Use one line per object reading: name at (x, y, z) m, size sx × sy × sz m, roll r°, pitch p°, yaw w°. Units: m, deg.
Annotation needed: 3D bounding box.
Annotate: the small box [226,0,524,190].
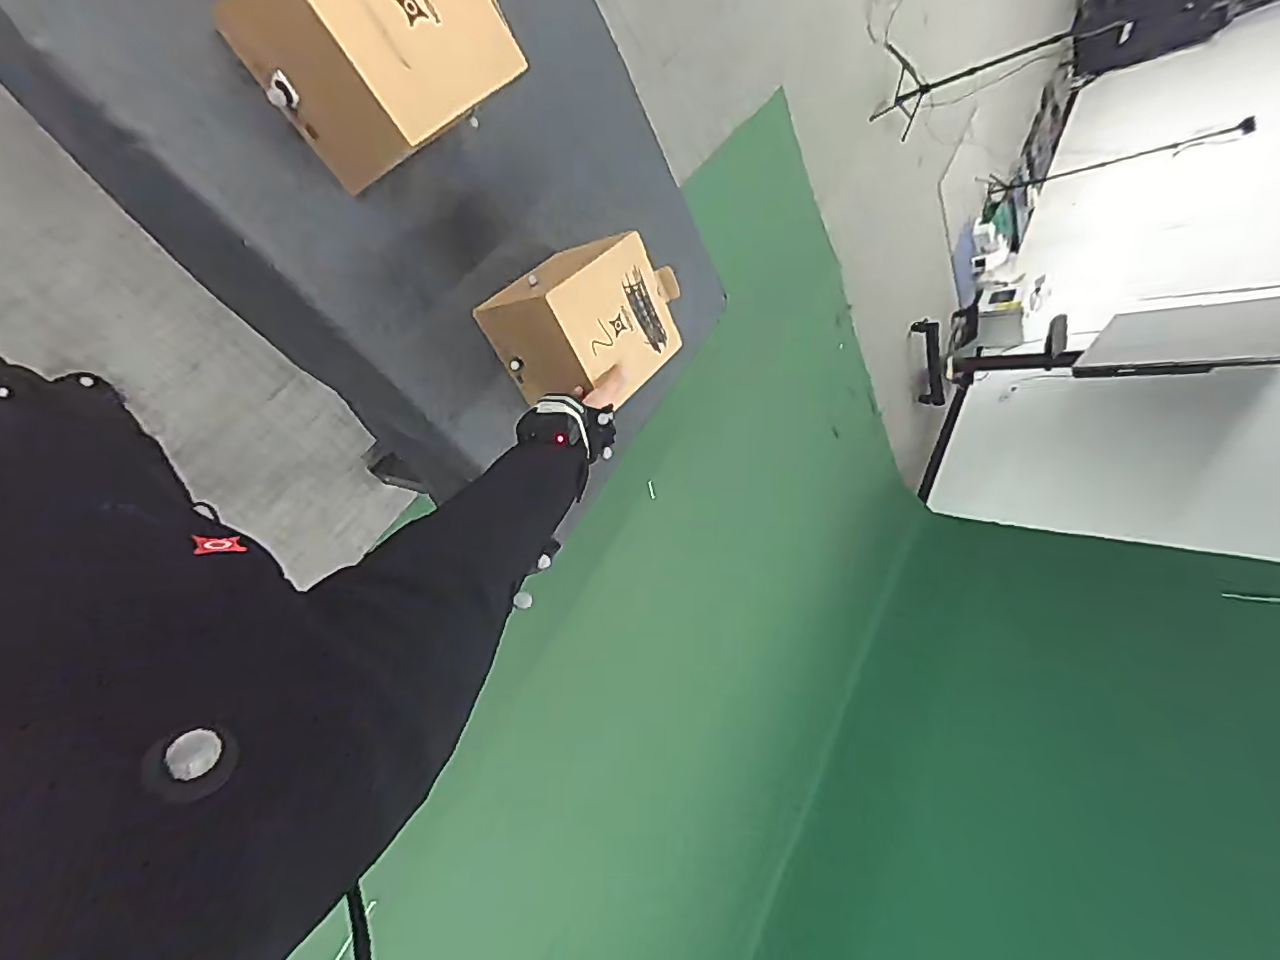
small box at (-0.256, -0.422, 0.528) m, size 0.179 × 0.176 × 0.168 m, roll -56°, pitch 130°, yaw -24°
